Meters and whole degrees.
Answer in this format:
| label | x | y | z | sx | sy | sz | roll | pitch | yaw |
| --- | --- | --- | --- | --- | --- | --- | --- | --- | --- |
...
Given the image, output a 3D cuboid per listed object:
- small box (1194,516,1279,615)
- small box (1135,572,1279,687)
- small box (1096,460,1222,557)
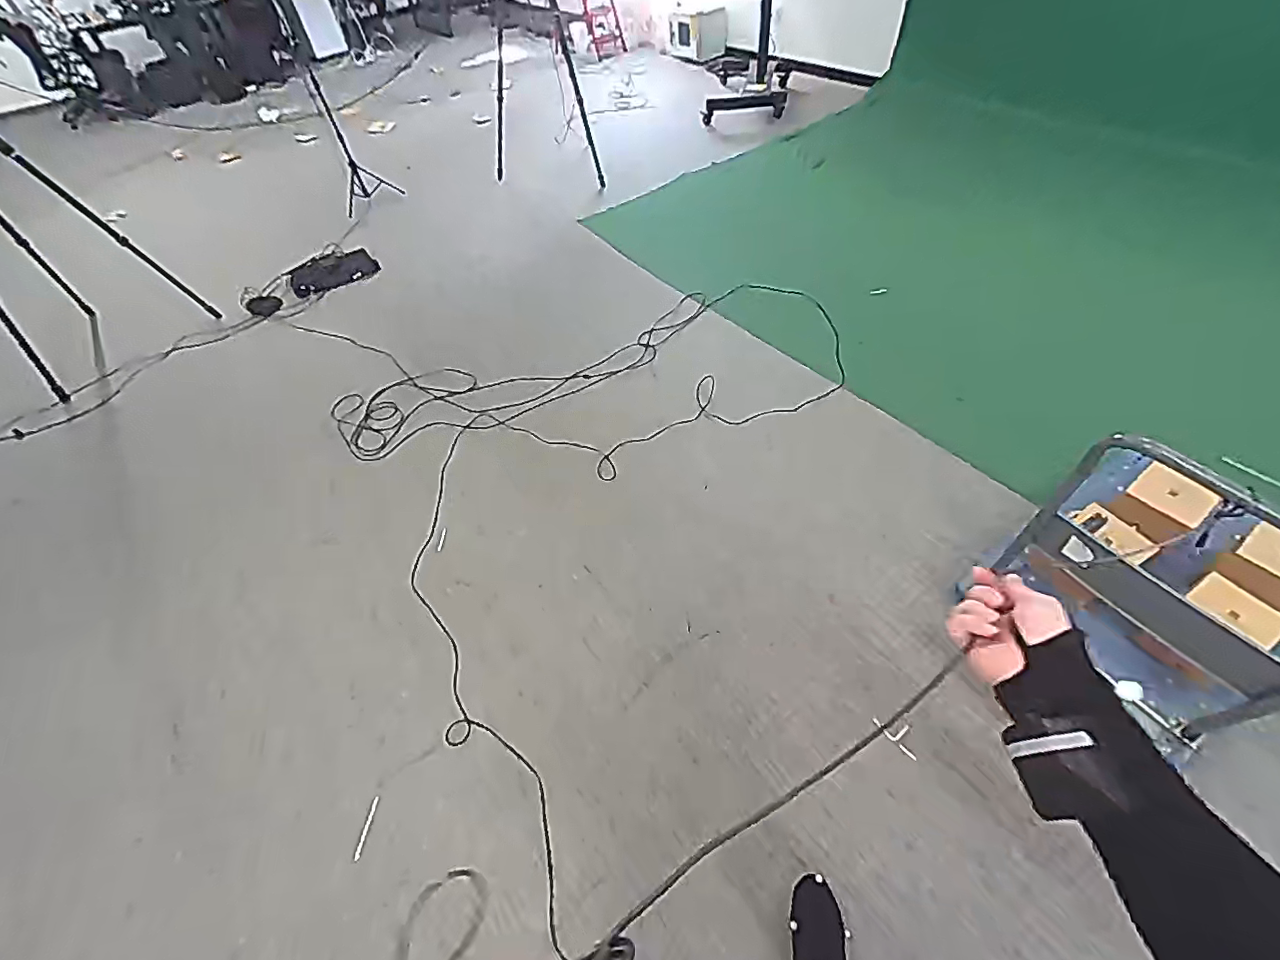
| label | x | y | z | sx | sy | sz | roll | pitch | yaw |
| --- | --- | --- | --- | --- | --- | --- | --- | --- | --- |
| small box | 1.584 | 0.231 | 1.371 | 0.179 | 0.176 | 0.168 | -33 | 54 | -18 |
| small box | 1.358 | 0.360 | 1.296 | 0.179 | 0.176 | 0.168 | -29 | 54 | -15 |
| small box | 1.432 | 0.084 | 1.508 | 0.179 | 0.176 | 0.168 | -33 | 56 | -18 |
